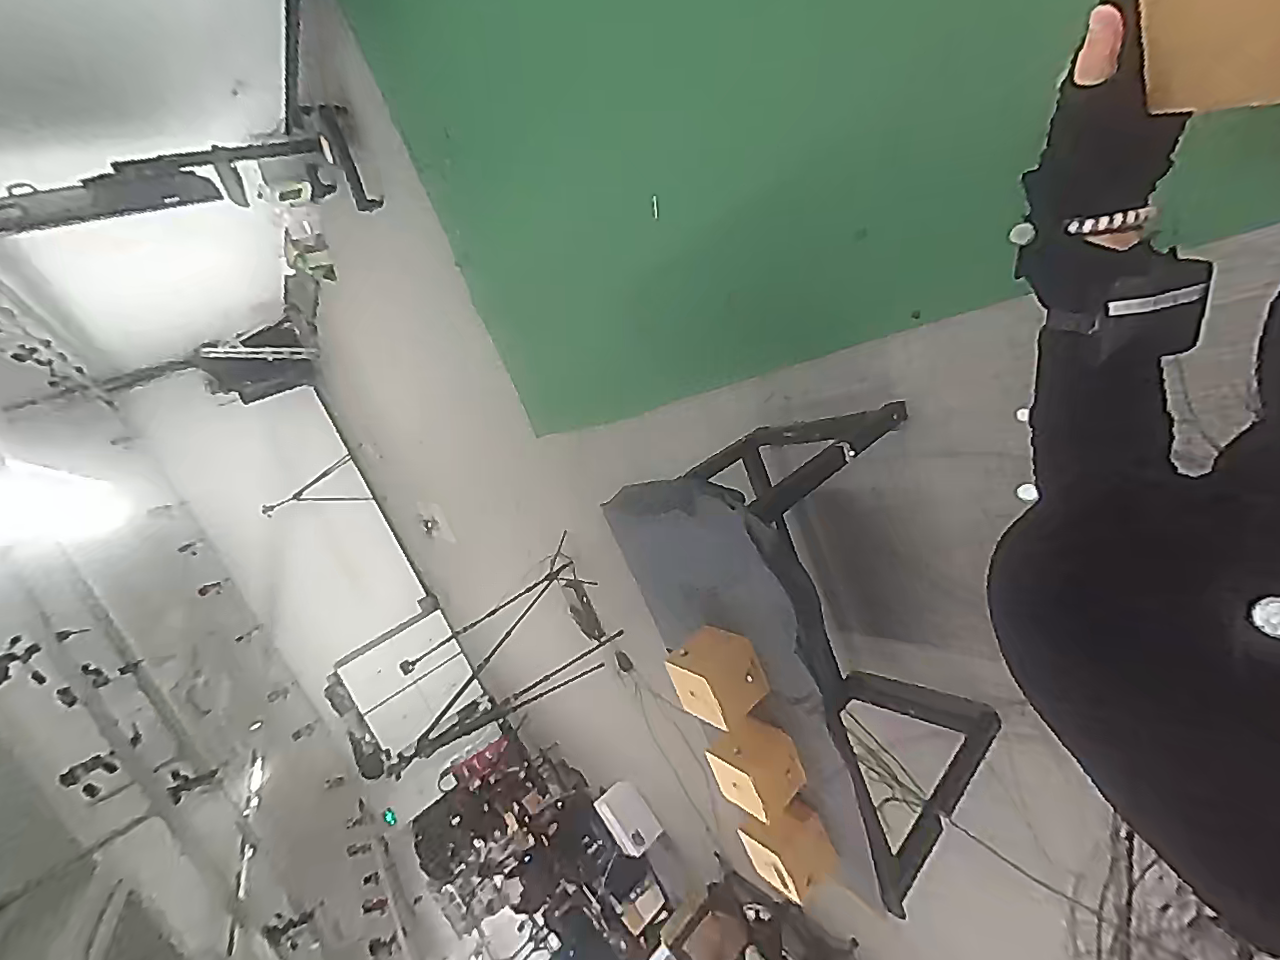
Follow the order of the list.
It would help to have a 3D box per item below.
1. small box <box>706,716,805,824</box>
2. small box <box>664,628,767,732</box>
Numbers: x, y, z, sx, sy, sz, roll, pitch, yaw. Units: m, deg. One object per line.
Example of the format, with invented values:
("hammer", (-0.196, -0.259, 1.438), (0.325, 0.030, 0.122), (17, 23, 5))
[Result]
("small box", (0.316, 0.778, 1.476), (0.179, 0.176, 0.168), (-4, 112, 55))
("small box", (0.199, 0.511, 1.413), (0.179, 0.176, 0.168), (-3, 113, 55))
